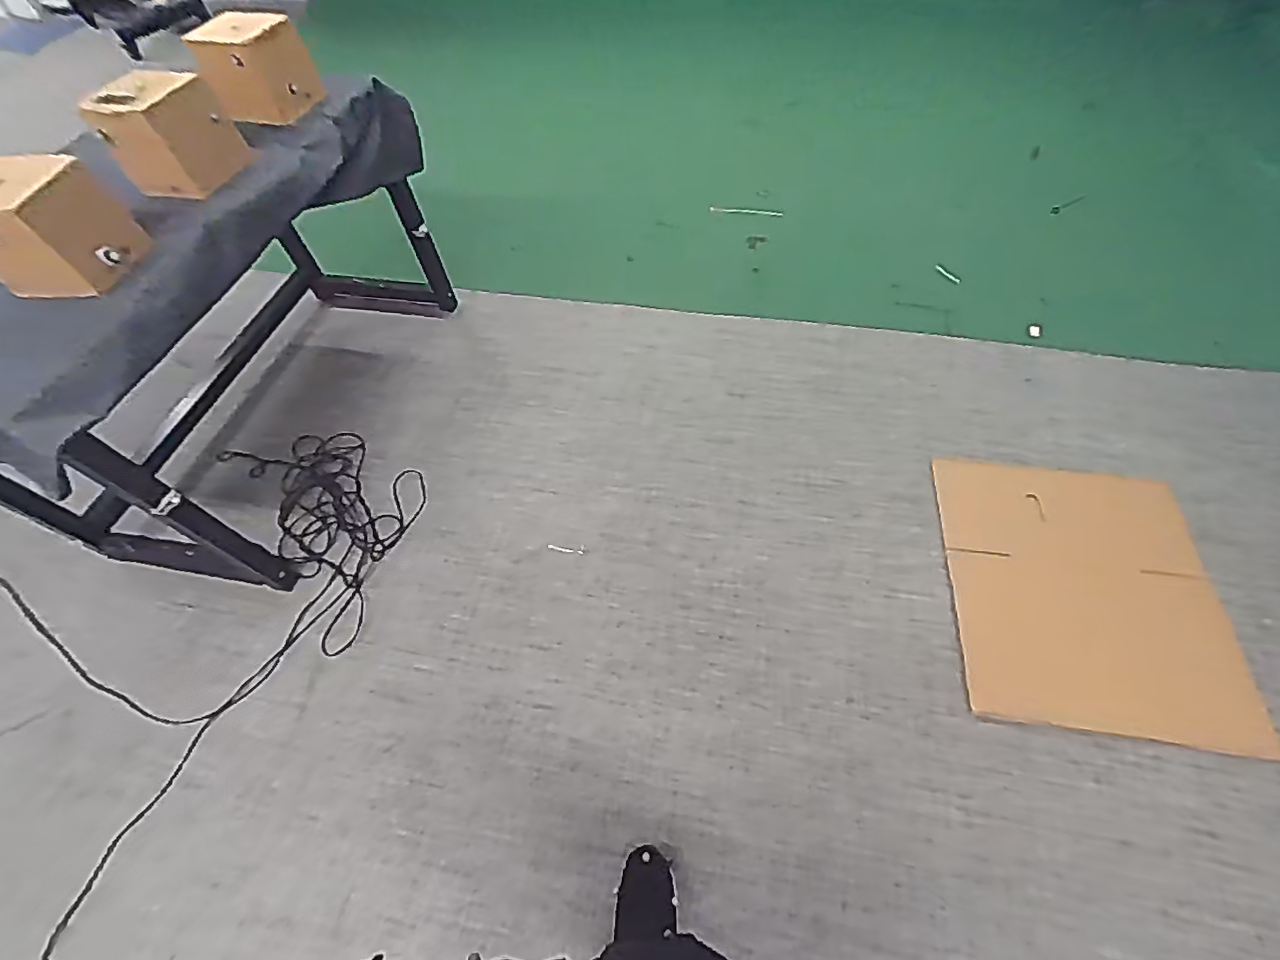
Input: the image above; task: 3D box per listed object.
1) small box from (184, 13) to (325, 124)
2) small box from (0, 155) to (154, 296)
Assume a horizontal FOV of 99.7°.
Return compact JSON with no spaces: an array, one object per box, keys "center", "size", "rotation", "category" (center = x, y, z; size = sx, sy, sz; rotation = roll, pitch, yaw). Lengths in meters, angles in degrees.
[{"center":[-0.911,-0.983,1.295],"size":[0.179,0.176,0.168],"rotation":[12,59,11],"category":"small box"},{"center":[-1.039,-0.444,0.953],"size":[0.179,0.176,0.168],"rotation":[2,58,4],"category":"small box"}]
